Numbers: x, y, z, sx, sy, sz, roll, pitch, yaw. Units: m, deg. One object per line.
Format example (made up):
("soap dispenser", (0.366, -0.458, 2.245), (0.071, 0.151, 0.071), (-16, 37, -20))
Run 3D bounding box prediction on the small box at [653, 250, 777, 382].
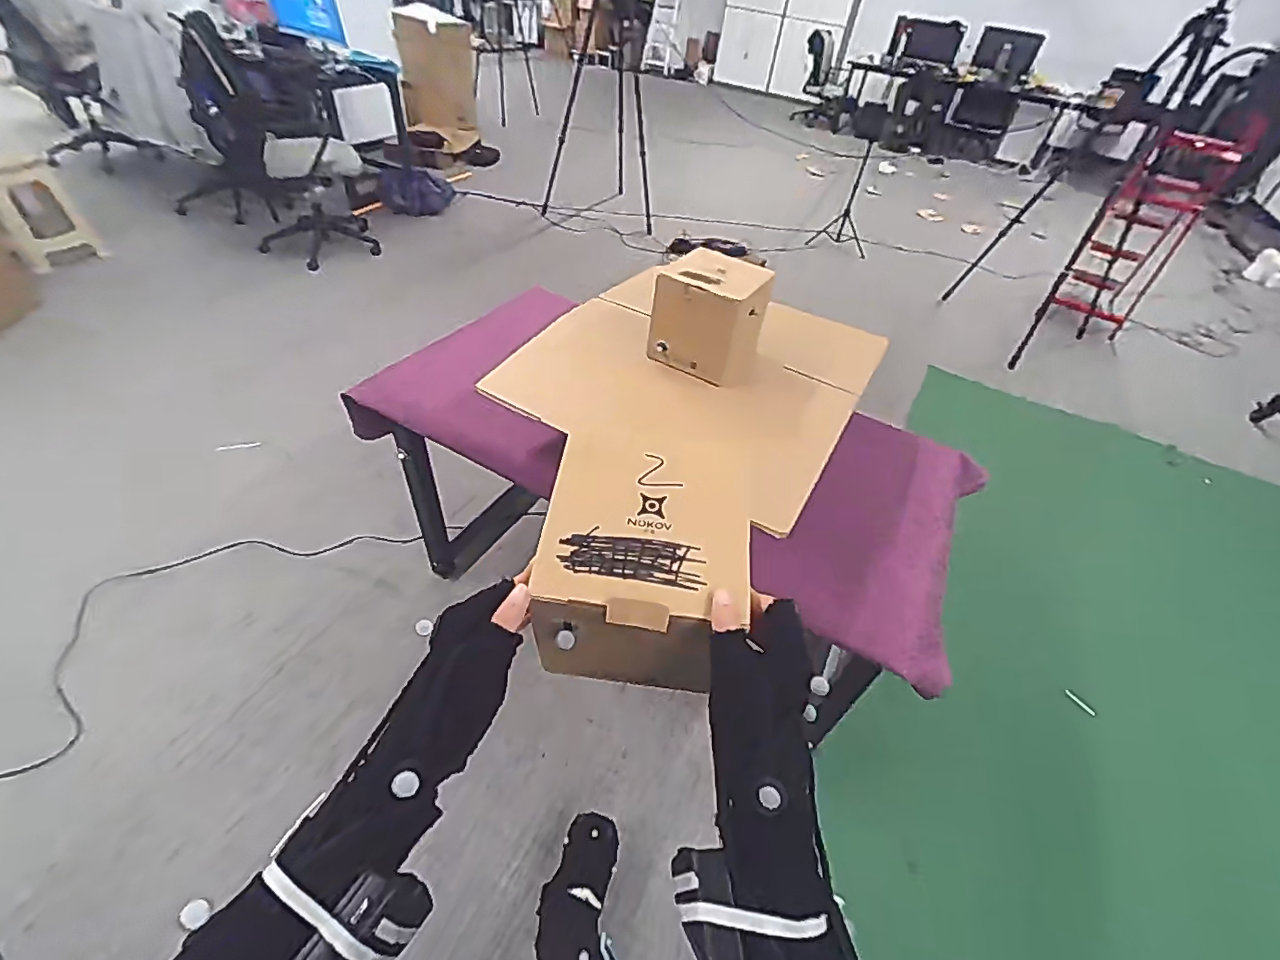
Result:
("small box", (0.136, -0.312, 1.030), (0.168, 0.176, 0.179), (27, 46, 18))
